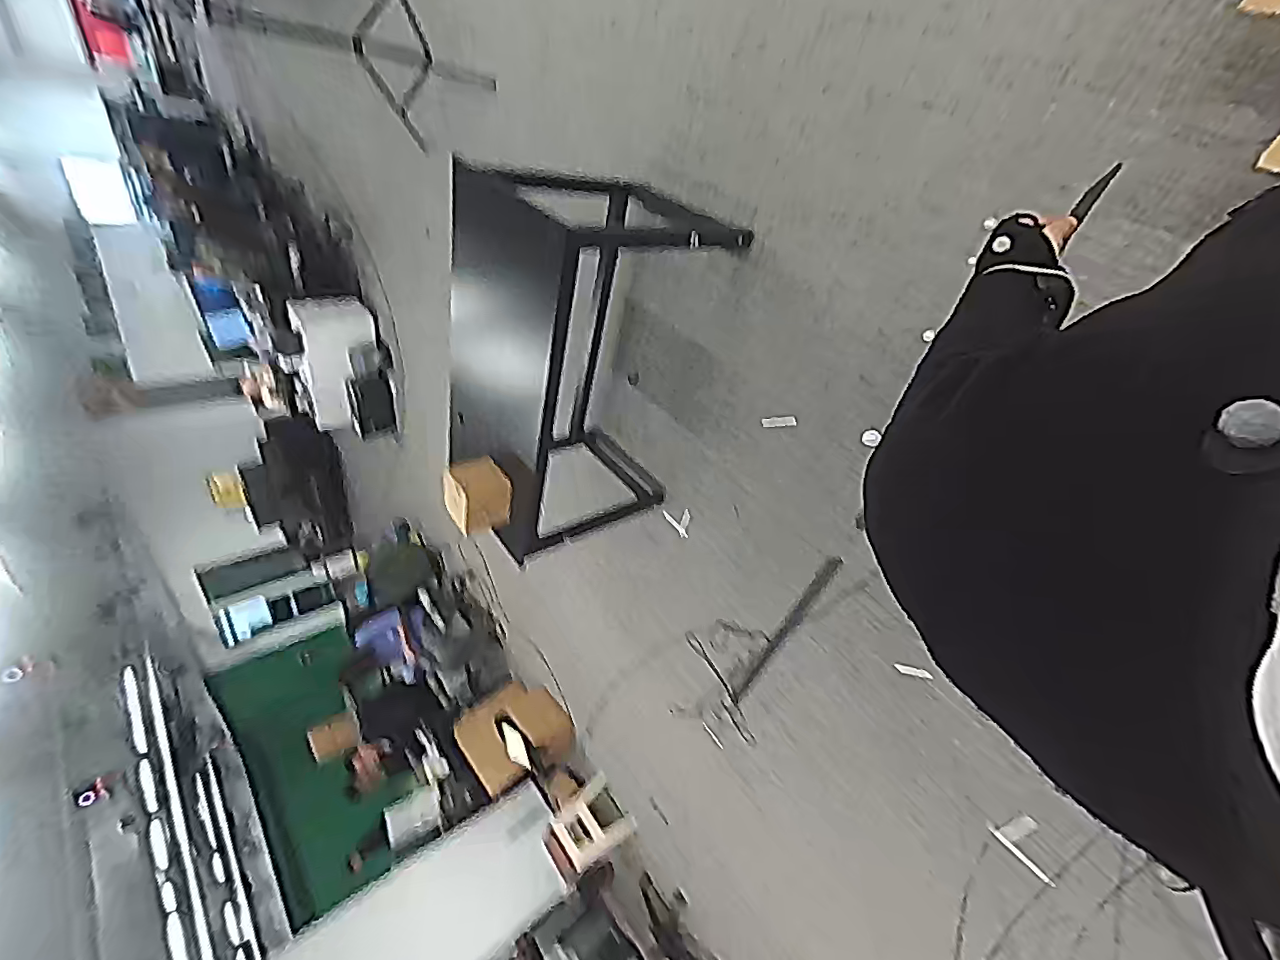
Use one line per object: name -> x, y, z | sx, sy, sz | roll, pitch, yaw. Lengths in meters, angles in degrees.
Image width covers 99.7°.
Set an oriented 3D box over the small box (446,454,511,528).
small box -> -0.566, 0.033, 1.900 | 0.168, 0.176, 0.179 | 43, 135, 32
